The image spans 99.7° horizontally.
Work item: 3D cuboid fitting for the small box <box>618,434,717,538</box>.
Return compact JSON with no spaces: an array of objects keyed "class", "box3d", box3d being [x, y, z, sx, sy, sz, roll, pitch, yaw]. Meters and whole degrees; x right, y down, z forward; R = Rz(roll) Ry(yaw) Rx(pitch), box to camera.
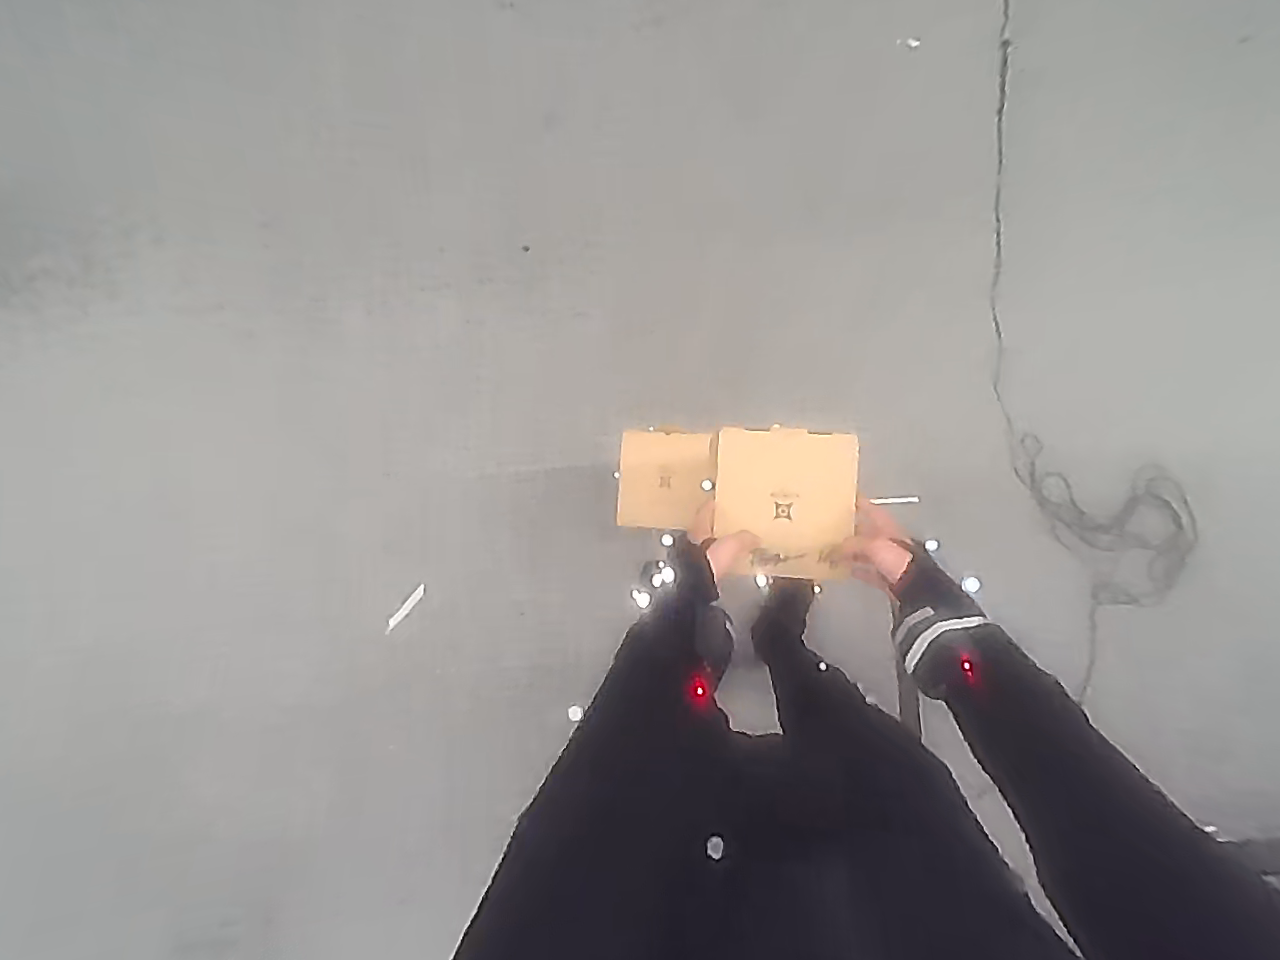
[{"class":"small box","box3d":[0.053,0.015,1.032,0.168,0.176,0.179,3,87,5]}]
